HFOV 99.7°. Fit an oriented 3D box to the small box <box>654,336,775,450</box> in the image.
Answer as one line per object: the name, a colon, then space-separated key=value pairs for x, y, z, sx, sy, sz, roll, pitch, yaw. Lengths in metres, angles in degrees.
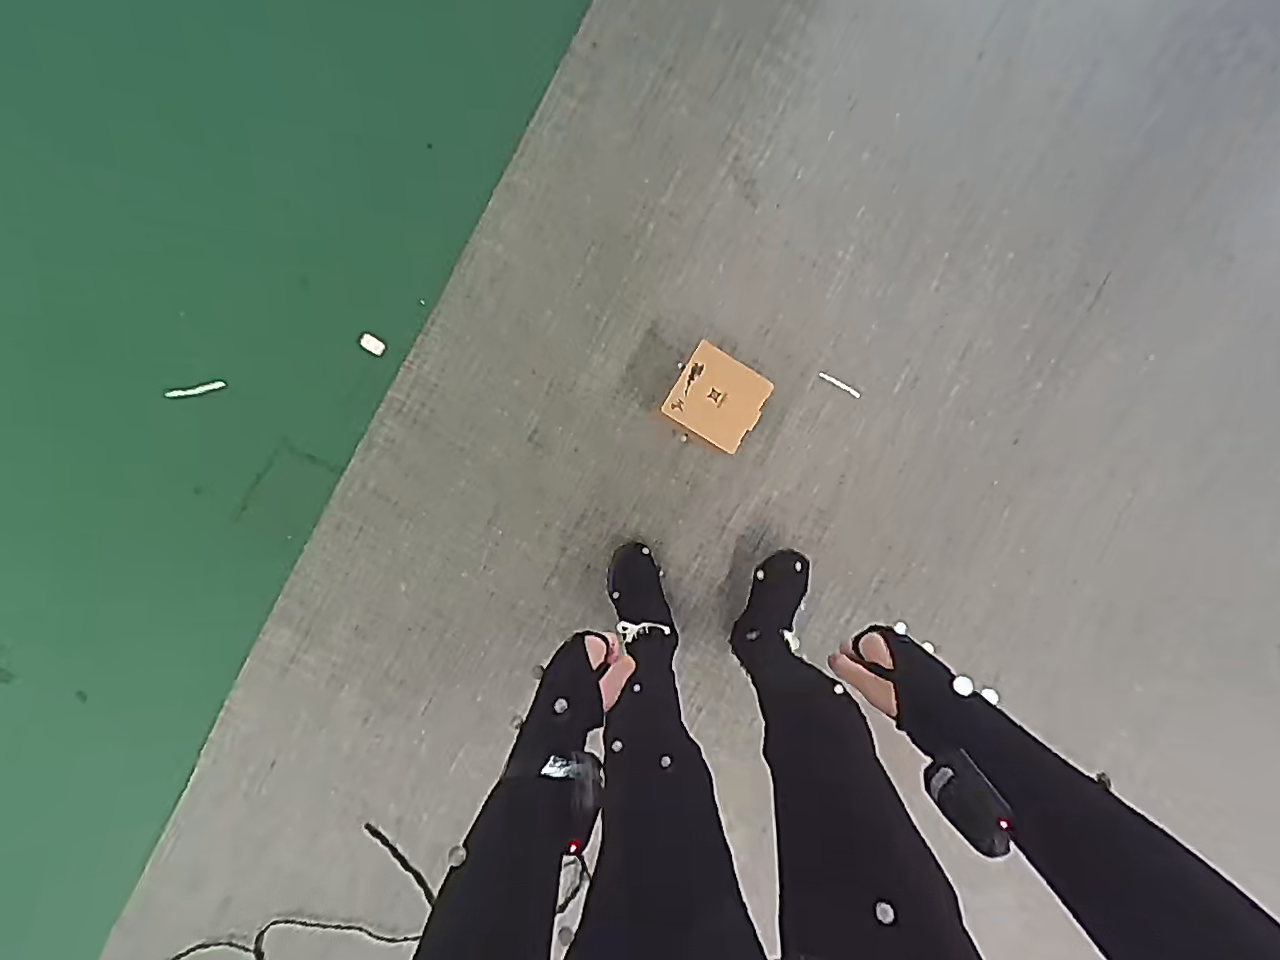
small box: x=0.147 y=-0.178 z=1.139 sx=0.179 sy=0.176 sz=0.168 roll=30 pitch=91 yaw=-7
